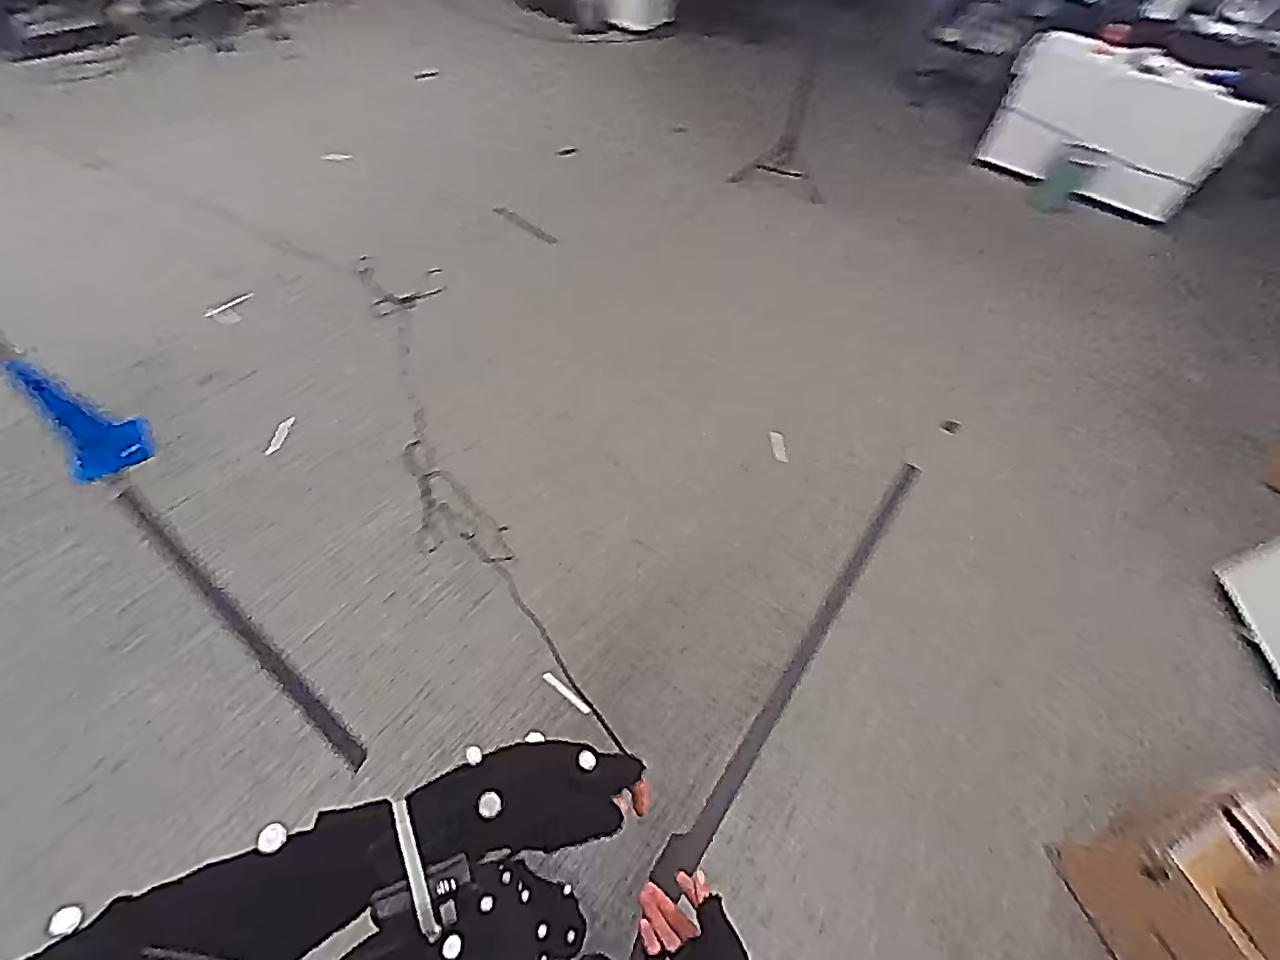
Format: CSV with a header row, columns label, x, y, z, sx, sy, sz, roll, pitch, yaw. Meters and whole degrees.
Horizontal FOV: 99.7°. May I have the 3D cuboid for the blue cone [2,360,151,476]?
label,x,y,z,sx,sy,sz,roll,pitch,yaw
blue cone,-1.635,-0.200,1.554,0.192,0.380,0.193,-28,62,-22
